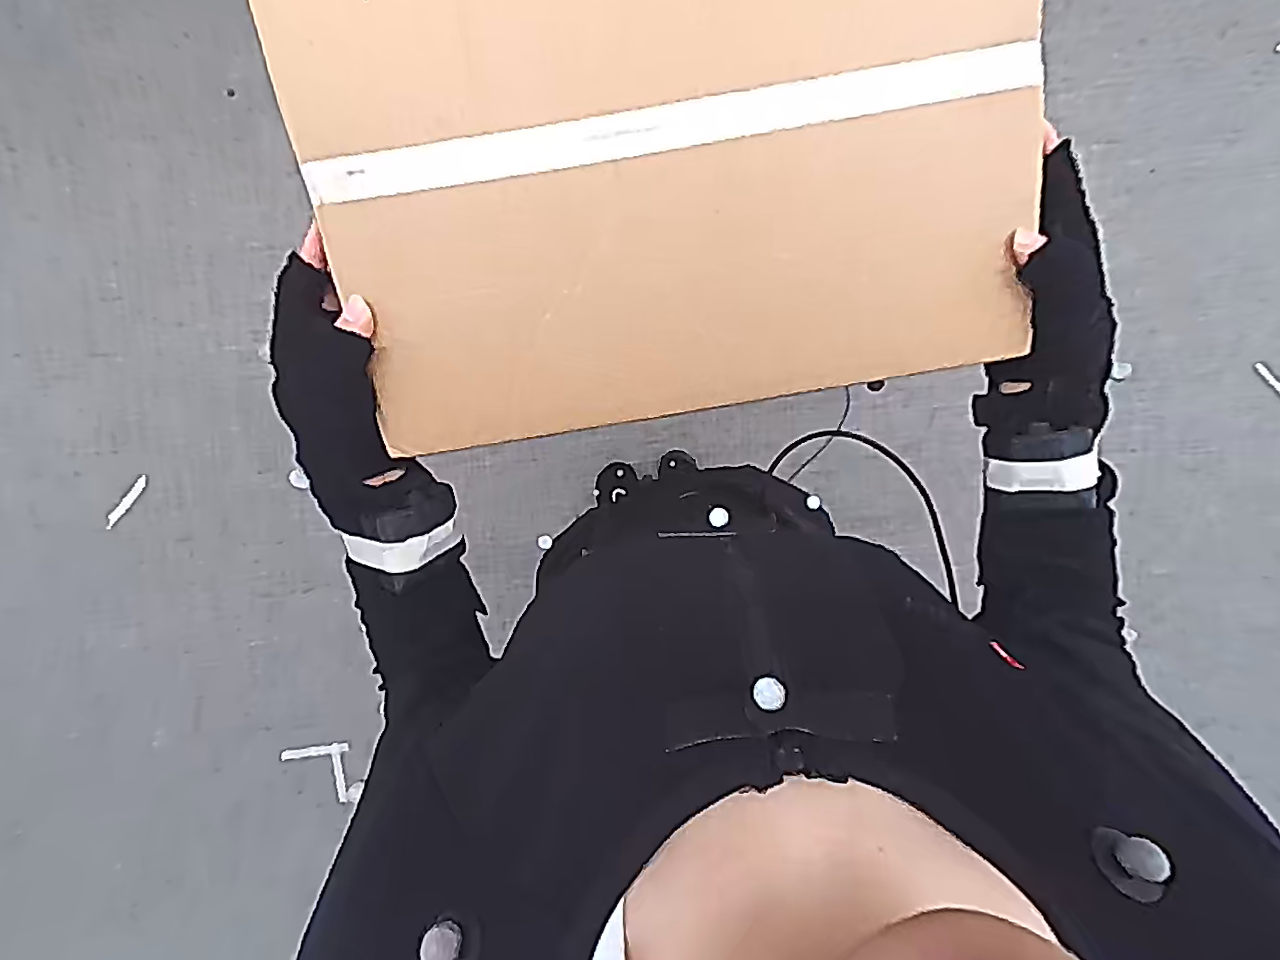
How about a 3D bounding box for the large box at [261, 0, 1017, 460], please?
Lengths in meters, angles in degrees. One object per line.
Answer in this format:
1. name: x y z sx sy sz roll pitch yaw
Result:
1. large box: 0.009 -0.233 0.449 0.408 0.320 0.320 -10 106 0
